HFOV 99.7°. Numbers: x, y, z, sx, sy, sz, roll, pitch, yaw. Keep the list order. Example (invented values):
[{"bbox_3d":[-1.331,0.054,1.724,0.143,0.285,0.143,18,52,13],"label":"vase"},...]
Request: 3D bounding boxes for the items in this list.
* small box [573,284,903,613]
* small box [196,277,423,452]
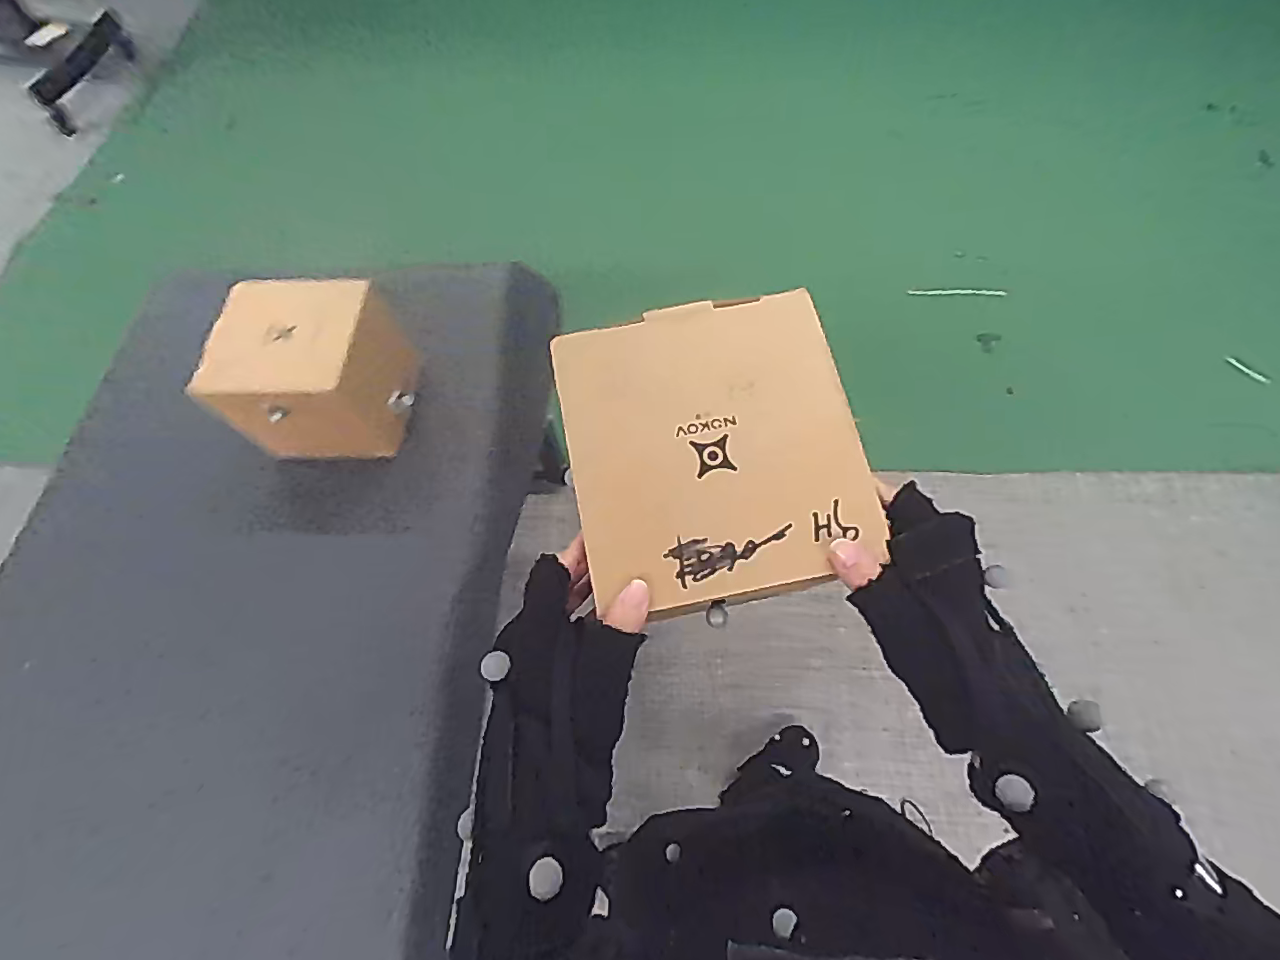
[{"bbox_3d":[0.054,-0.007,0.394,0.168,0.176,0.179,-11,73,1],"label":"small box"},{"bbox_3d":[-0.419,-0.146,0.720,0.179,0.176,0.168,0,66,2],"label":"small box"}]
